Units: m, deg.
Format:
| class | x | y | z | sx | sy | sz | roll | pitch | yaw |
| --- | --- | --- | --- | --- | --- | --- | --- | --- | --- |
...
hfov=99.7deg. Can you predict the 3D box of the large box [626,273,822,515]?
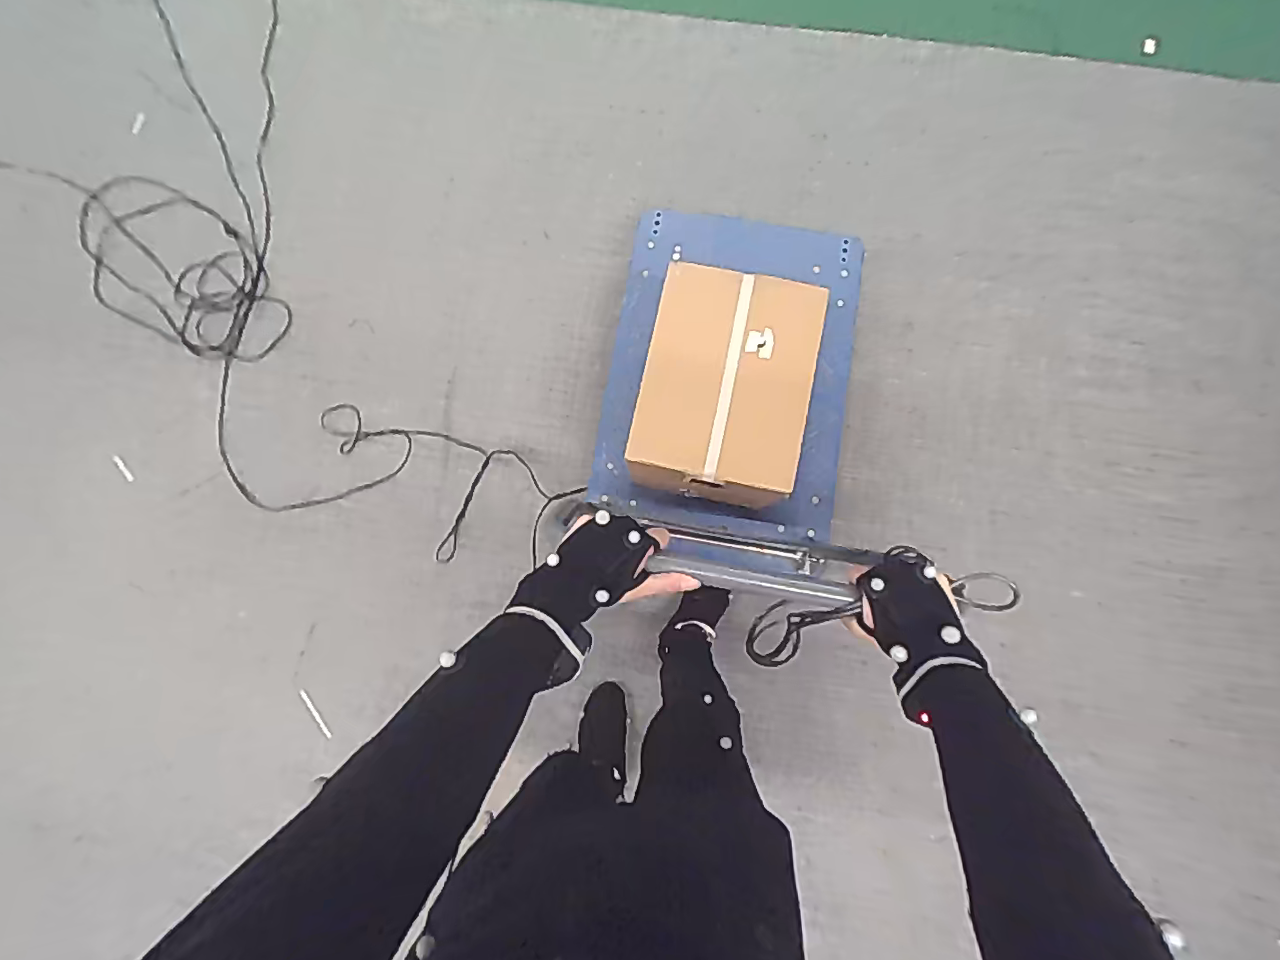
| class | x | y | z | sx | sy | sz | roll | pitch | yaw |
| --- | --- | --- | --- | --- | --- | --- | --- | --- | --- |
| large box | 0.167 | -0.160 | 1.161 | 0.320 | 0.320 | 0.408 | 12 | 81 | 3 |
